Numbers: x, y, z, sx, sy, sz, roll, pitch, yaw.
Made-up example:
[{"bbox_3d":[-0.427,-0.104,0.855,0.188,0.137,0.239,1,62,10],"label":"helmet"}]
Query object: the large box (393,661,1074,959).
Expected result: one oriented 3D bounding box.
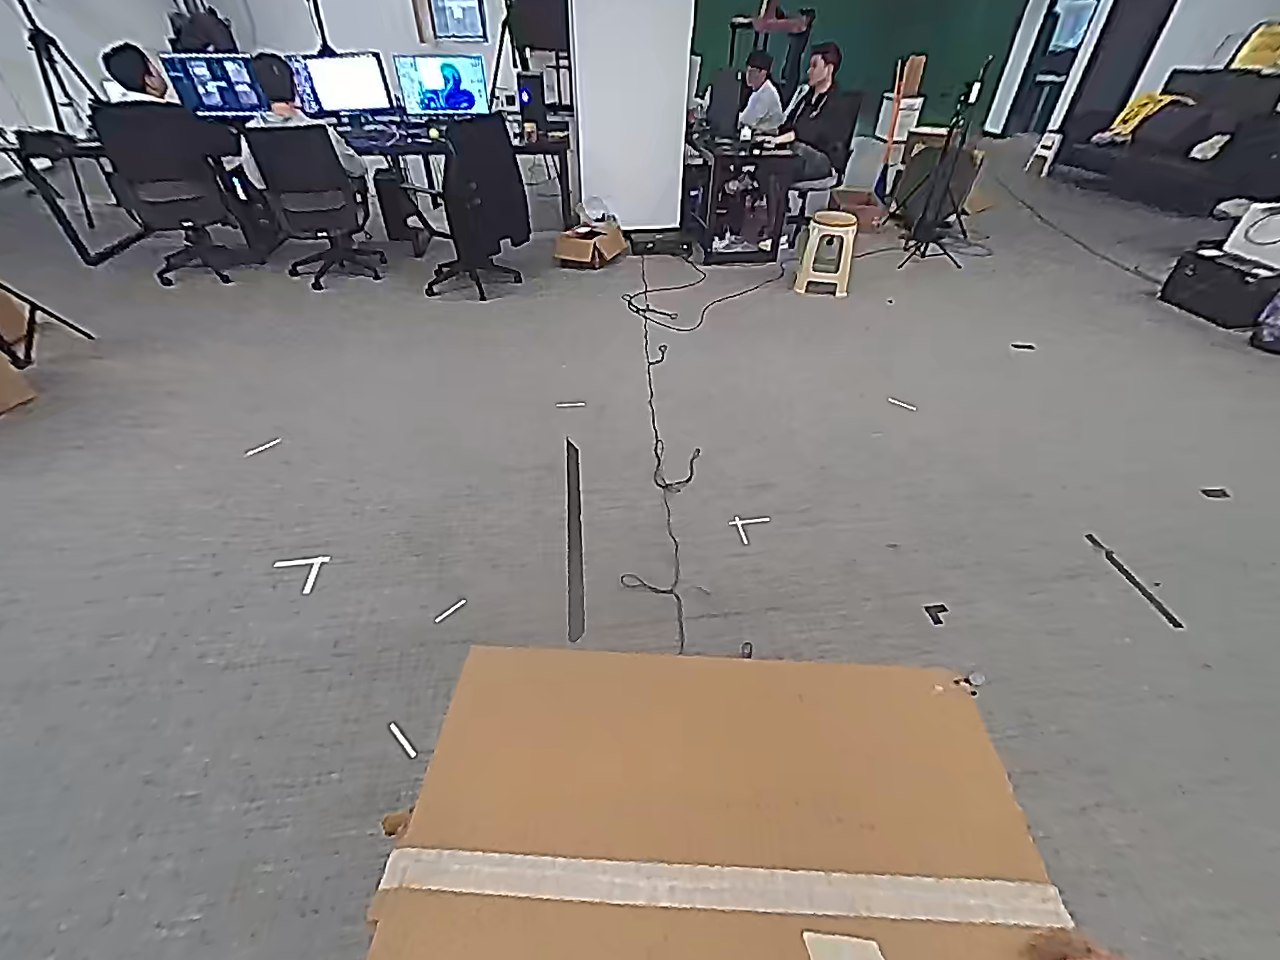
[{"bbox_3d":[0.053,0.371,0.434,0.408,0.320,0.320,2,41,2],"label":"large box"}]
